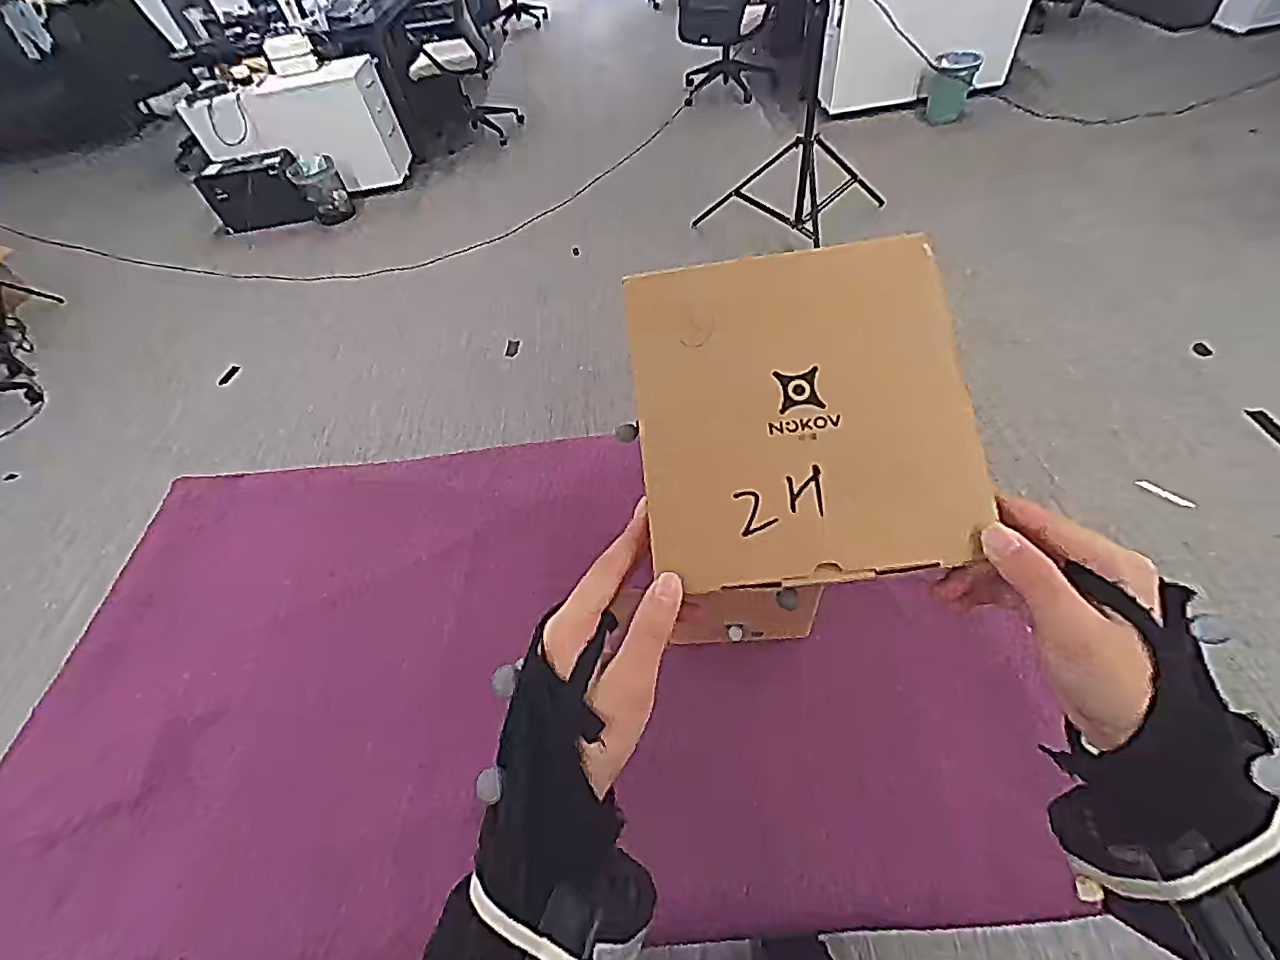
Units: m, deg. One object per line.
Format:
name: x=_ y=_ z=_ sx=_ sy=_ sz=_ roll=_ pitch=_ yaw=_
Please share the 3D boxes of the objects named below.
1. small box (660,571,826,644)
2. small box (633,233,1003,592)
small box: x=0.111 y=0.078 z=0.642 sx=0.168 sy=0.176 sz=0.179 roll=-4 pitch=52 yaw=6
small box: x=0.088 y=-0.024 z=0.353 sx=0.168 sy=0.176 sz=0.179 roll=-6 pitch=77 yaw=4
